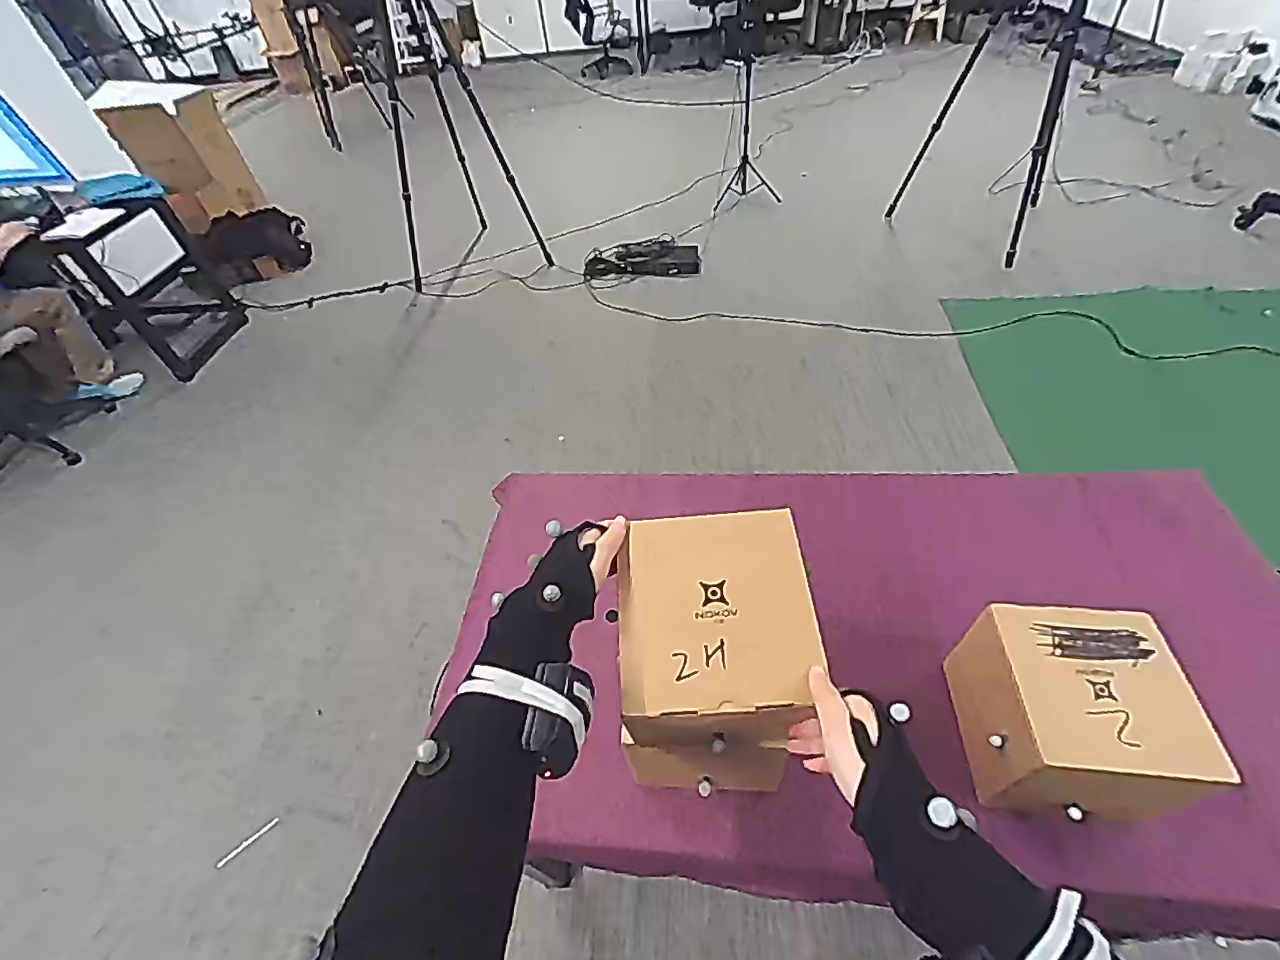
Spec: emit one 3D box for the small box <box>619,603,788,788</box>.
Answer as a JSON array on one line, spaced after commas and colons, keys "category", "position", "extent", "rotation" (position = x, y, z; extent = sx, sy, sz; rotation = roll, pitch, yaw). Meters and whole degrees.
[{"category": "small box", "position": [0.074, 0.268, 0.668], "extent": [0.179, 0.176, 0.168], "rotation": [-1, 47, 5]}]
